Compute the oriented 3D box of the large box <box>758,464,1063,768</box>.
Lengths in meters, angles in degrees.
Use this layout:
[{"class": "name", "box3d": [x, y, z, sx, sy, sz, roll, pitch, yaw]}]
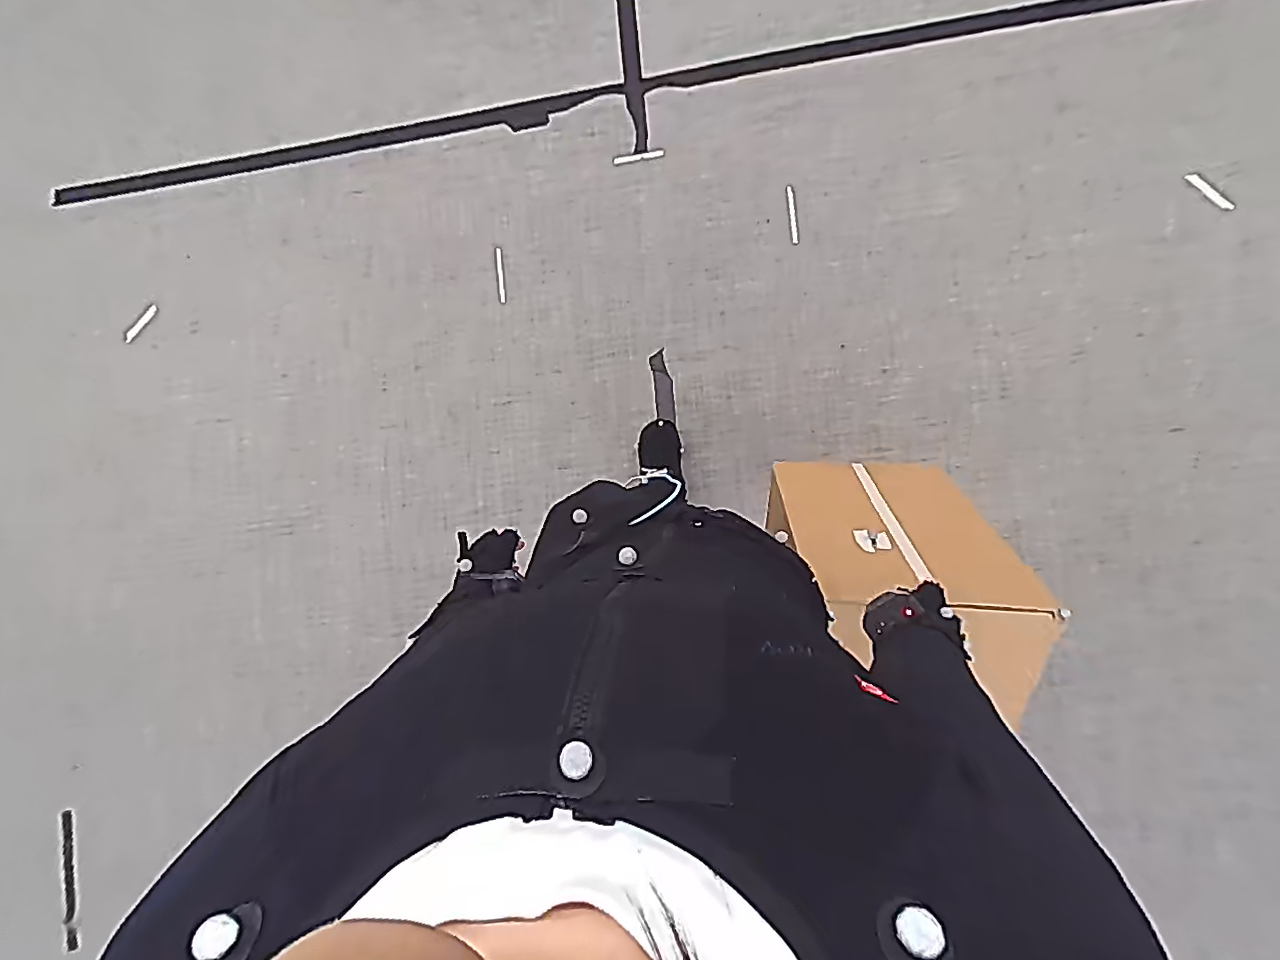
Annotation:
[{"class": "large box", "box3d": [0.393, 0.203, 0.927, 0.320, 0.408, 0.320, 2, 119, 5]}]
